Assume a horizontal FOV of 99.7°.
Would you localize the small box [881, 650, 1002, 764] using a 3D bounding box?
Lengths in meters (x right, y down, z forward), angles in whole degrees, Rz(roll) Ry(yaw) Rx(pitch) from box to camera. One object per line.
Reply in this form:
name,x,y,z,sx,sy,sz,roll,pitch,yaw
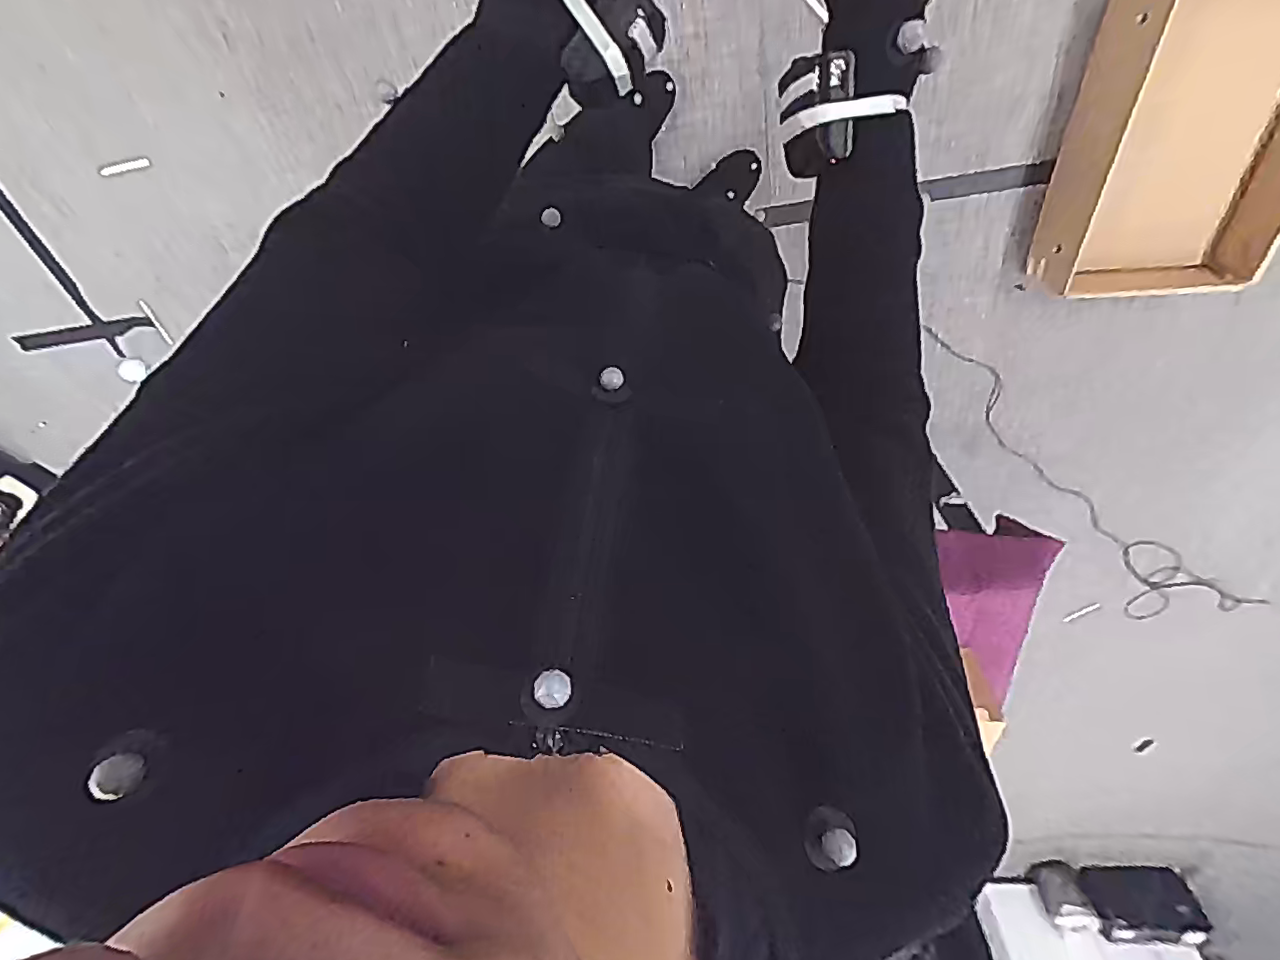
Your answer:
small box,0.634,0.483,1.164,0.168,0.176,0.179,-2,126,8
